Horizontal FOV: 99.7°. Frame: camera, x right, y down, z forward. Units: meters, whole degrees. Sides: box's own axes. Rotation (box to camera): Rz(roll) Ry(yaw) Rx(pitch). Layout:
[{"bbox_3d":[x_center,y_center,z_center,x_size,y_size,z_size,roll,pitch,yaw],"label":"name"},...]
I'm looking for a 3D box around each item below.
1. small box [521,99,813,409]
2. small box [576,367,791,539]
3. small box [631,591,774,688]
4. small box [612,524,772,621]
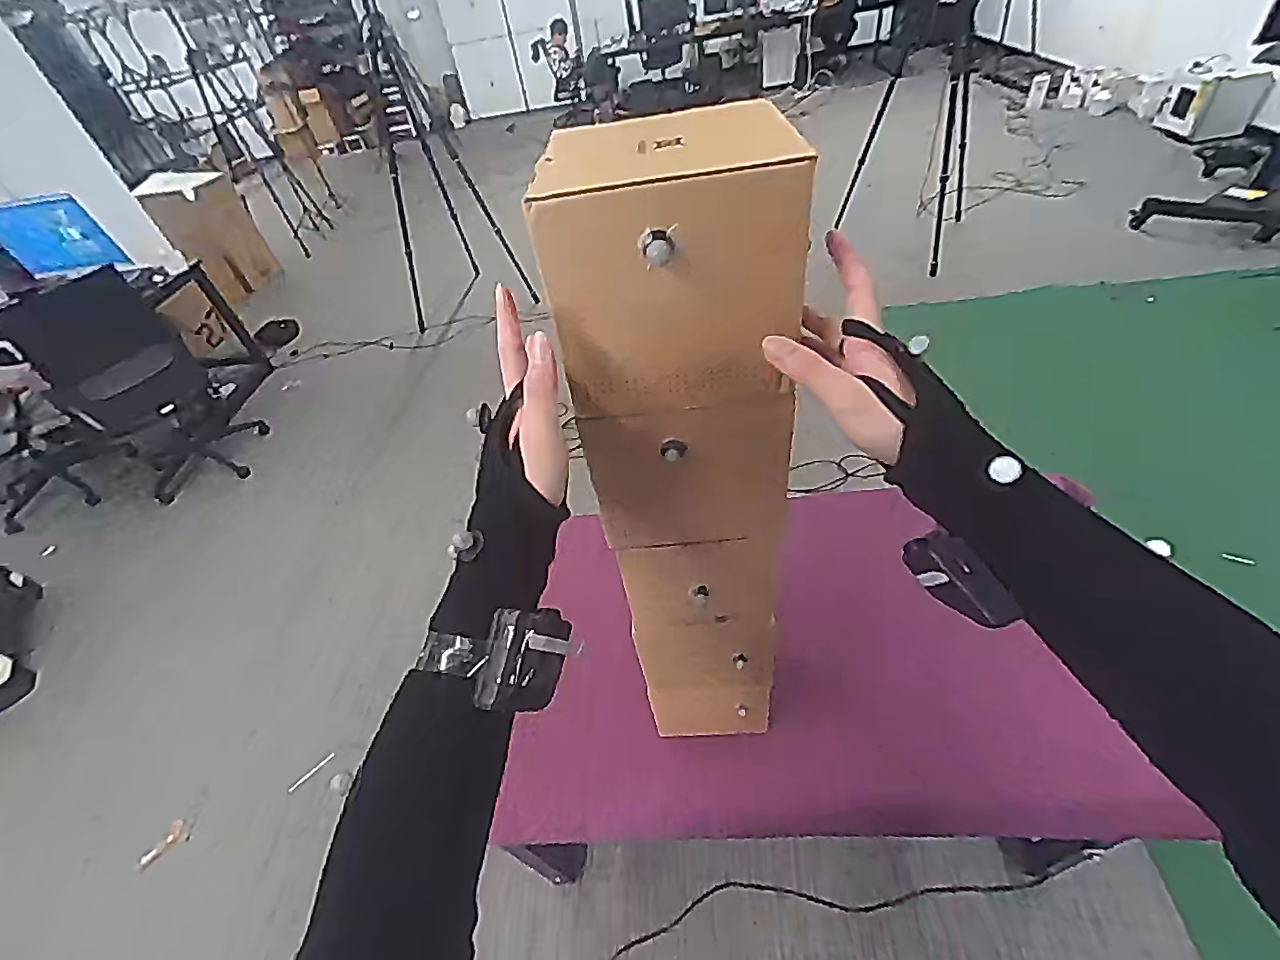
[{"bbox_3d":[0.025,-0.174,0.429,0.179,0.176,0.168,-6,44,6],"label":"small box"},{"bbox_3d":[0.044,-0.056,0.538,0.179,0.176,0.168,-6,44,5],"label":"small box"},{"bbox_3d":[0.087,0.179,0.763,0.179,0.176,0.168,-5,44,7],"label":"small box"},{"bbox_3d":[0.064,0.059,0.655,0.168,0.176,0.179,-5,45,5],"label":"small box"}]
